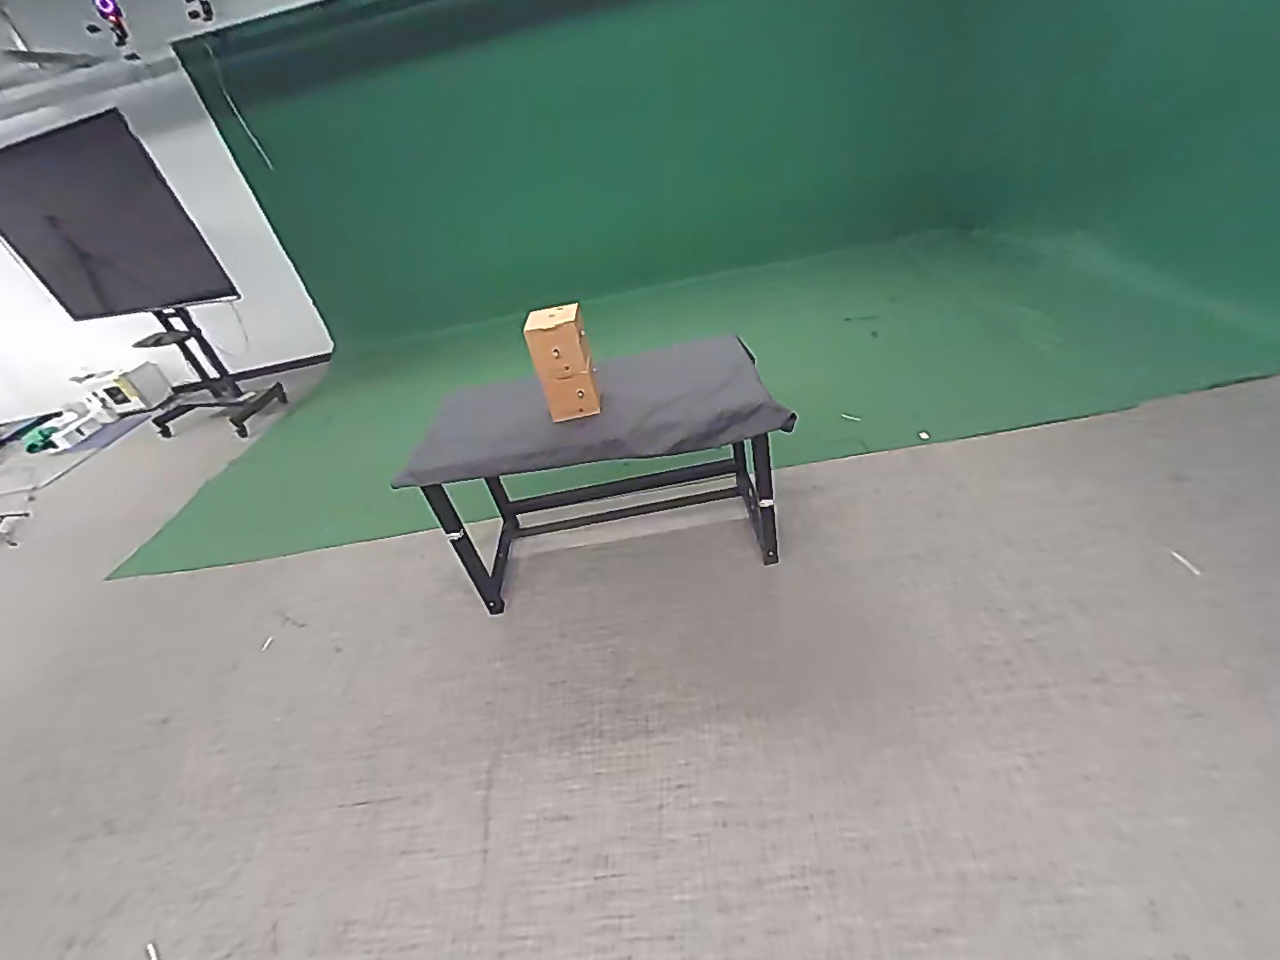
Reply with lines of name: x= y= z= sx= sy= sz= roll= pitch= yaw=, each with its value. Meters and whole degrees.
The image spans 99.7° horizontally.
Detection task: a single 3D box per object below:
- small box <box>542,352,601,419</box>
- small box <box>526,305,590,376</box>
small box: x=-0.232 y=-0.322 z=1.880 sx=0.168 sy=0.176 sz=0.179 roll=-10 pitch=34 yaw=3
small box: x=-0.265 y=-0.456 z=1.790 sx=0.168 sy=0.176 sz=0.179 roll=-9 pitch=37 yaw=4
